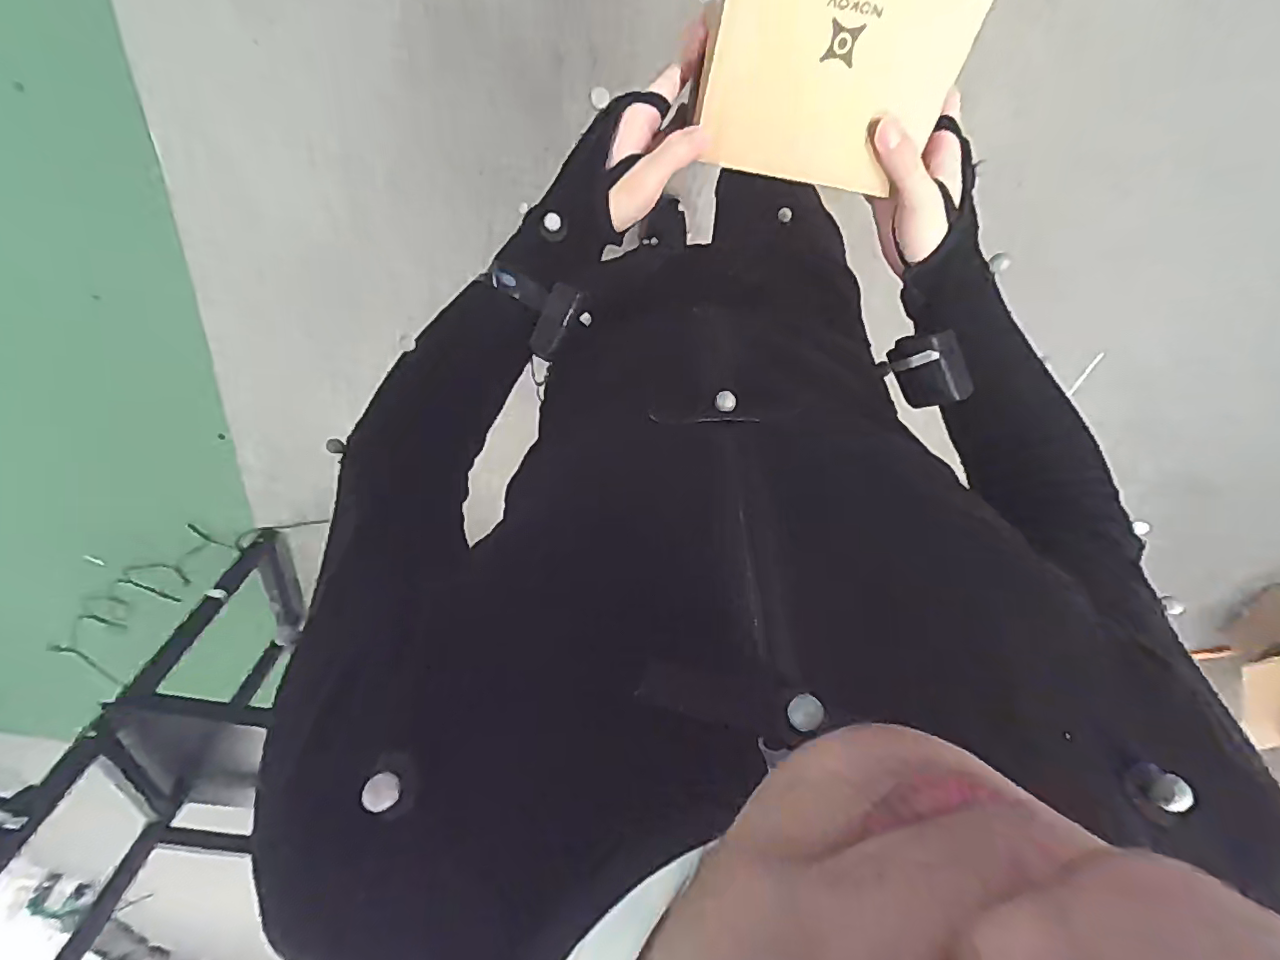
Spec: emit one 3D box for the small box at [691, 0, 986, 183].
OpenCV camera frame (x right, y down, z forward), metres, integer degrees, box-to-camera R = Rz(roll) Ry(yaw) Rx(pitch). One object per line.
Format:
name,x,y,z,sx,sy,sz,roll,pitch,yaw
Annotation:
small box,0.134,-0.351,0.402,0.168,0.176,0.179,6,133,-5
